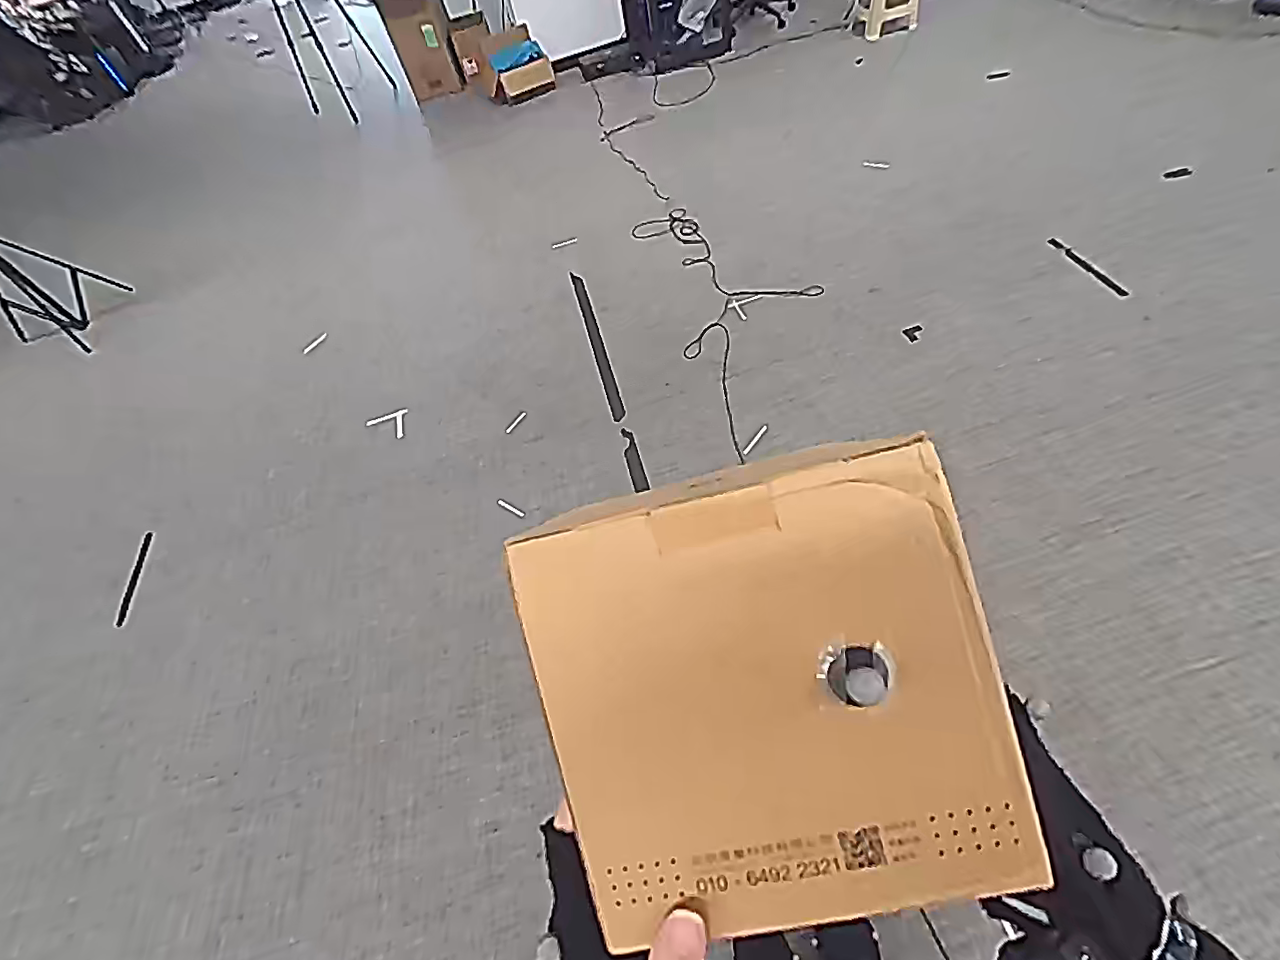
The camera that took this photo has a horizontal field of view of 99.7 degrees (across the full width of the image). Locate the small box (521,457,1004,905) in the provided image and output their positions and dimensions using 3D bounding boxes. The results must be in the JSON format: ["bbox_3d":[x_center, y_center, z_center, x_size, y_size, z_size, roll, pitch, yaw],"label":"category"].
[{"bbox_3d":[0.060,0.092,0.298,0.168,0.179,0.176,-15,90,9],"label":"small box"}]
